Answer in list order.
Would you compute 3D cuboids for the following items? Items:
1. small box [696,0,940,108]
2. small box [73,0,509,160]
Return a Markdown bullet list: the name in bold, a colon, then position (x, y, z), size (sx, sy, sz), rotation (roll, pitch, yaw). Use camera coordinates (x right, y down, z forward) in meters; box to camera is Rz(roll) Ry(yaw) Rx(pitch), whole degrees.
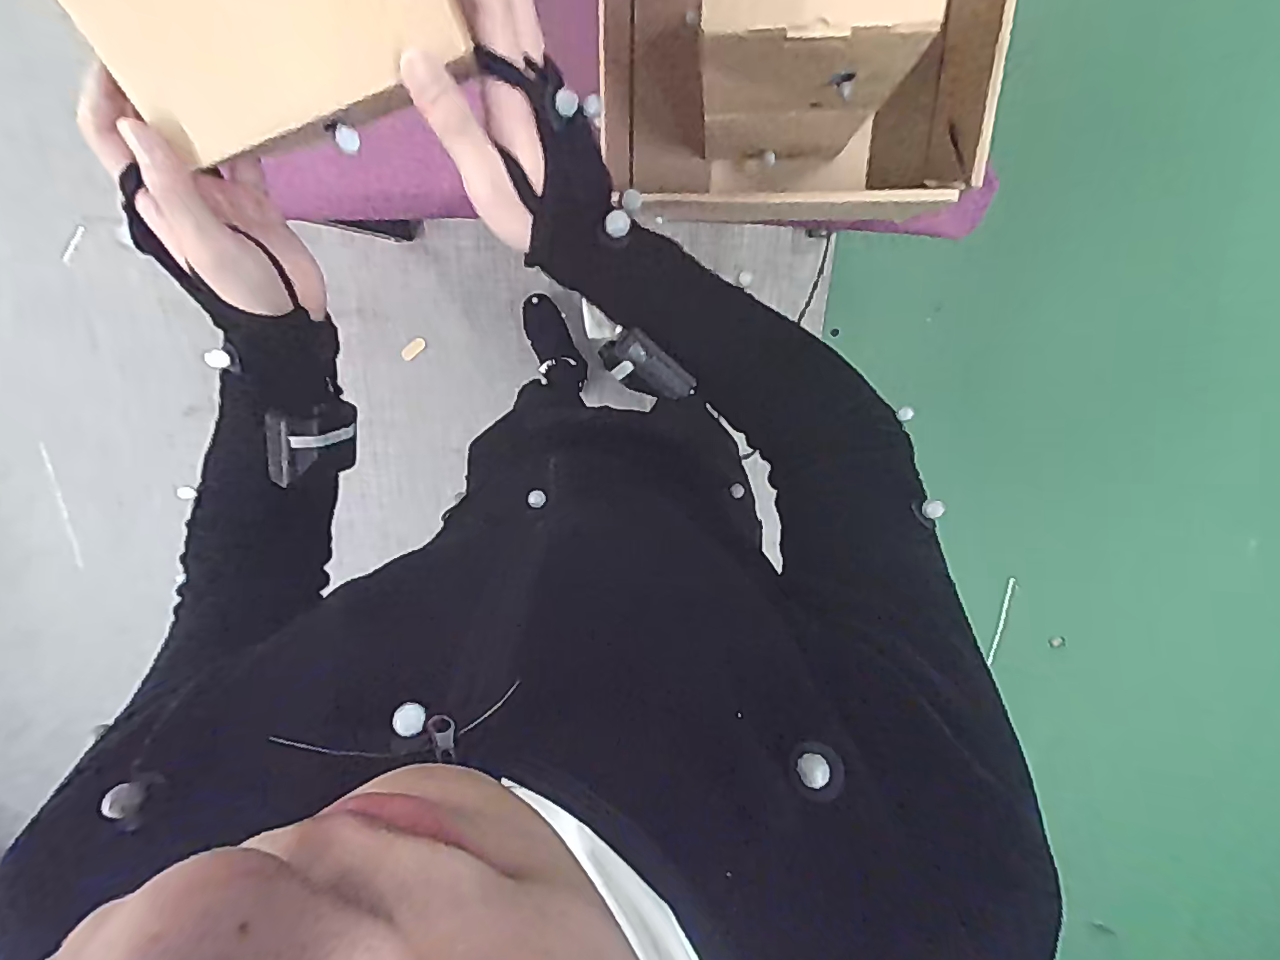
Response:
- **small box**: position (0.135, -0.418, 0.426), size (0.168, 0.176, 0.179), rotation (4, 107, 6)
- **small box**: position (-0.183, -0.297, 0.280), size (0.168, 0.176, 0.179), rotation (-17, 125, 7)
